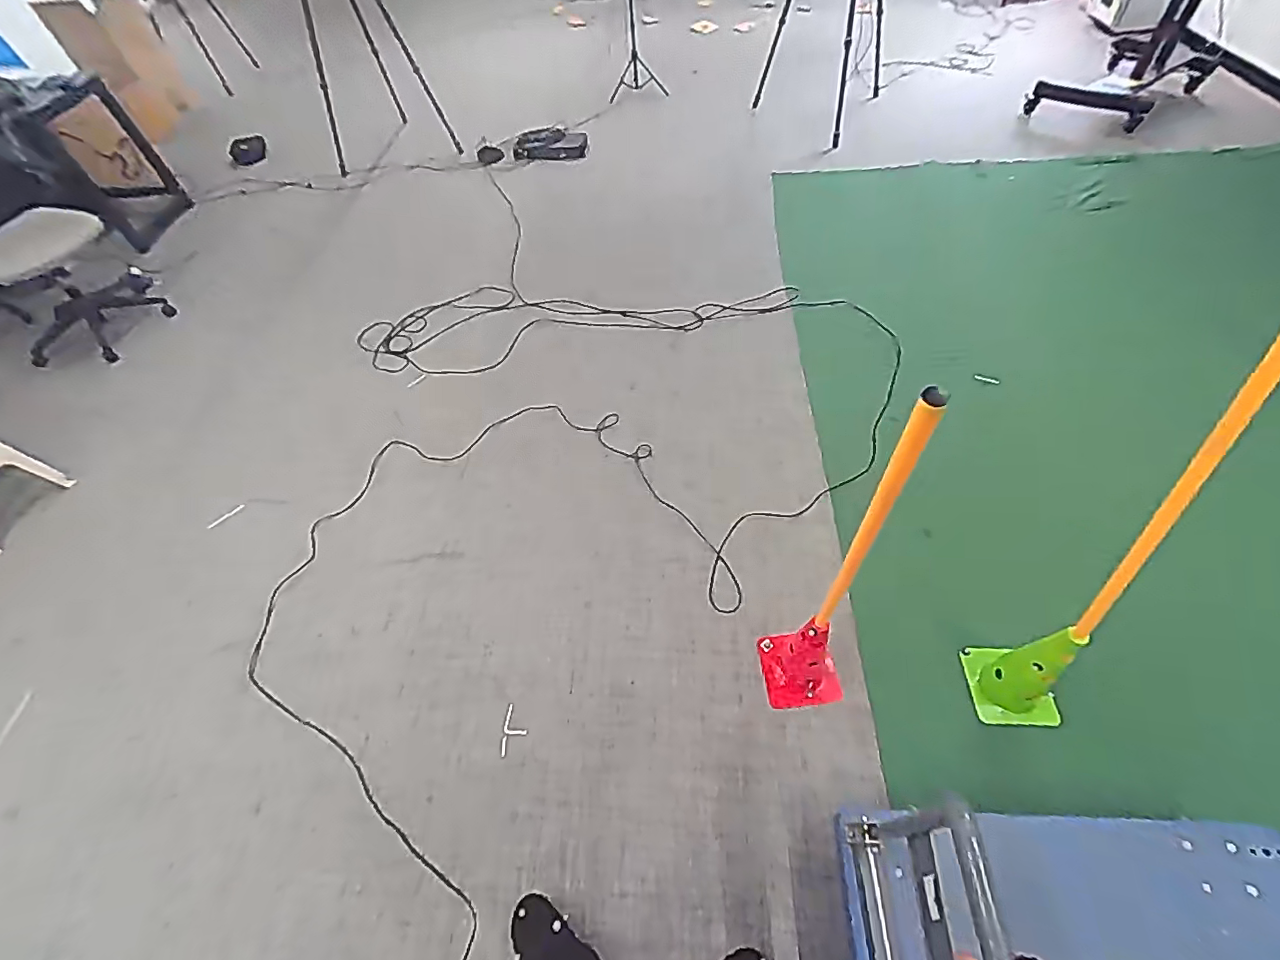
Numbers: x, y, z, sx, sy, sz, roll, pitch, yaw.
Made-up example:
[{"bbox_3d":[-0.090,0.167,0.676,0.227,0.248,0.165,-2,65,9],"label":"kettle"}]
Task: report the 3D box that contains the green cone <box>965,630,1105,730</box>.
[{"bbox_3d":[0.973,0.448,1.290,0.202,0.368,0.200,0,53,5],"label":"green cone"}]
